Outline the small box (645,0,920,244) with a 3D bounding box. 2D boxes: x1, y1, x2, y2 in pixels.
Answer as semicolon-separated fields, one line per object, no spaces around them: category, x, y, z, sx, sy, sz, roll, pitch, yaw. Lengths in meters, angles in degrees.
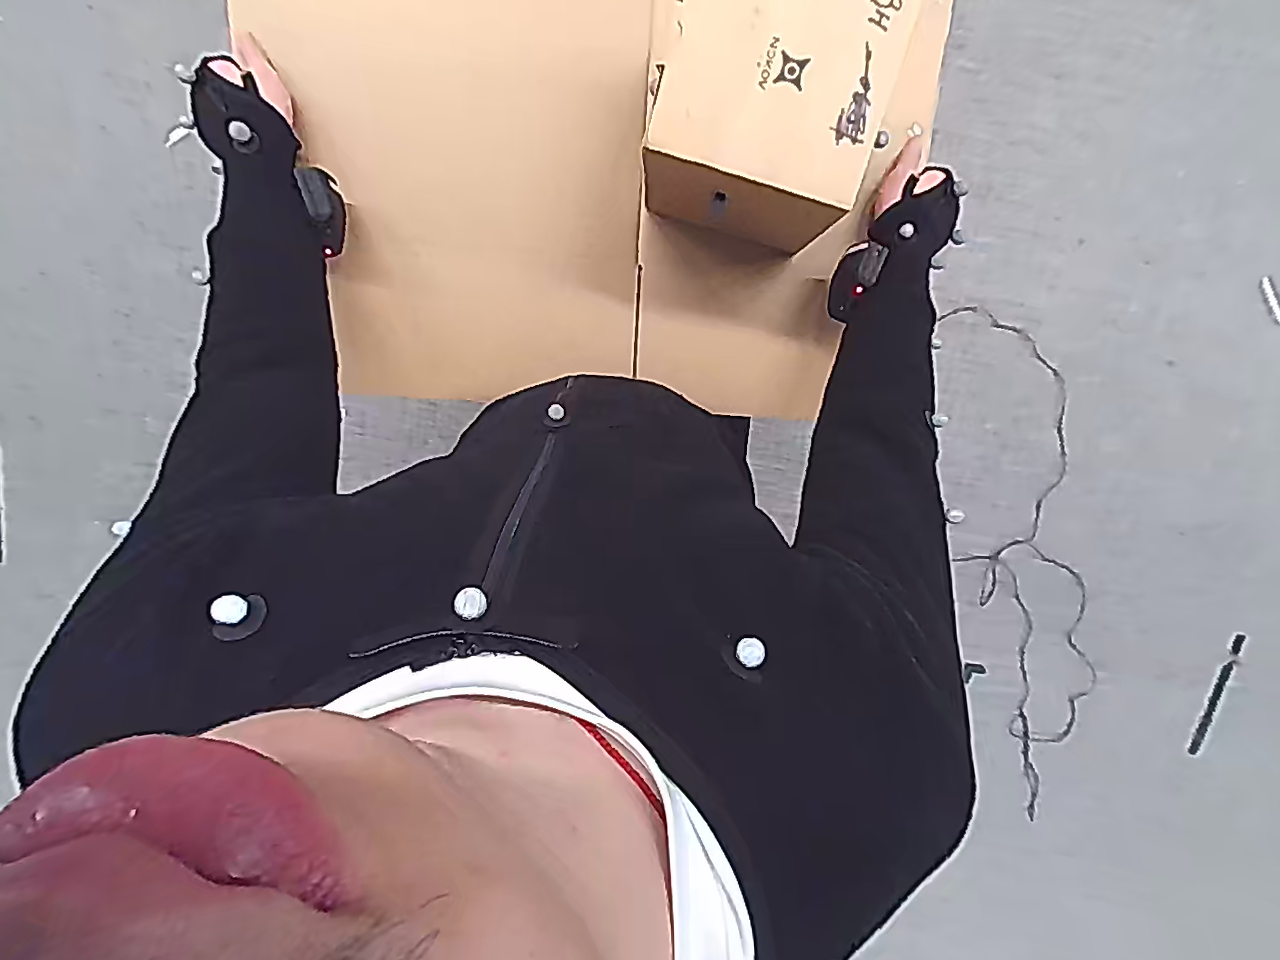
small box;0.112;-0.336;0.496;0.179;0.176;0.168;16;102;-1
